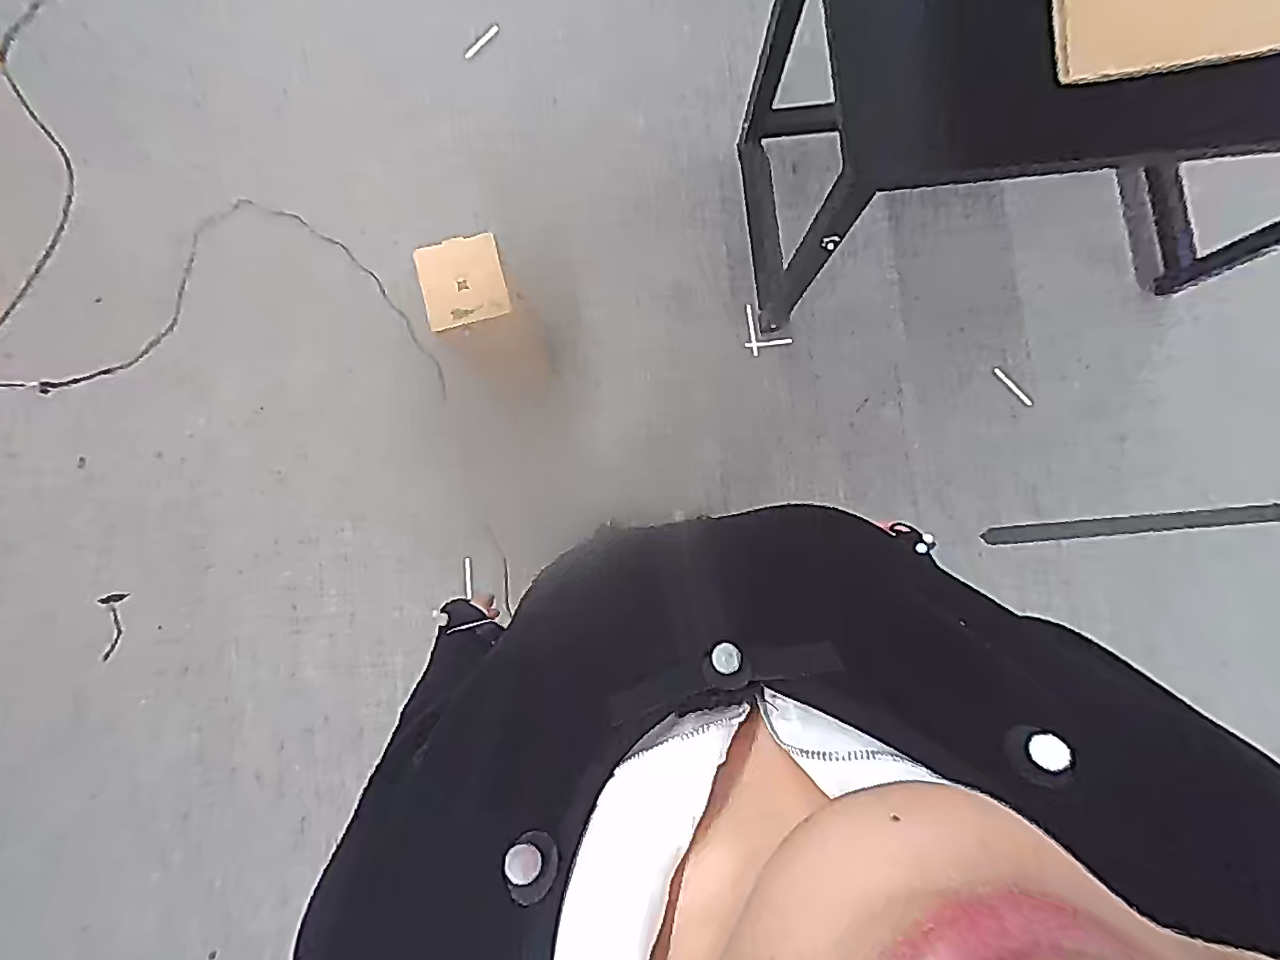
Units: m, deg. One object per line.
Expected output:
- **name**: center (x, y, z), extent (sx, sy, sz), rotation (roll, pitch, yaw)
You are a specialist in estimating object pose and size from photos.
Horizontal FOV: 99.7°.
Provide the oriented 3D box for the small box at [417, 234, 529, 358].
- **small box**: center (-0.347, -0.383, 1.149), extent (0.168, 0.176, 0.179), rotation (-15, 85, -1)
